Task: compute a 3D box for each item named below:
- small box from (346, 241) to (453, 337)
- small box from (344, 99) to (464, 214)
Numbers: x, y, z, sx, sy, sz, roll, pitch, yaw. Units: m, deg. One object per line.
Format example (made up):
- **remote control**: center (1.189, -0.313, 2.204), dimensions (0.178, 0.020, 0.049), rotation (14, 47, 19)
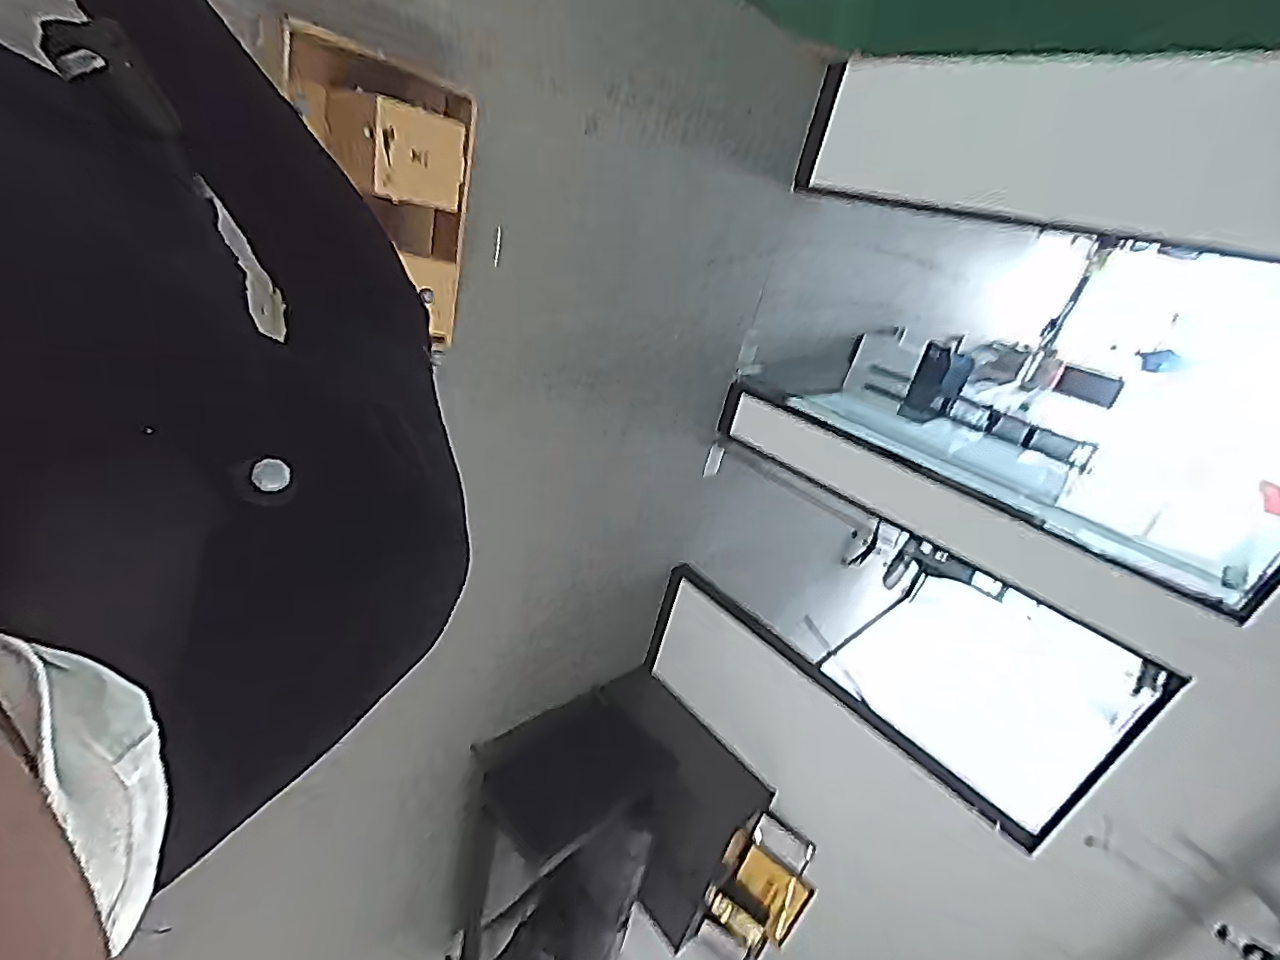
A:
- **small box**: center (-0.561, -0.443, 1.252), dimensions (0.179, 0.176, 0.168), rotation (-7, 122, -45)
- **small box**: center (-0.497, -0.679, 1.135), dimensions (0.179, 0.176, 0.168), rotation (-10, 125, -44)
